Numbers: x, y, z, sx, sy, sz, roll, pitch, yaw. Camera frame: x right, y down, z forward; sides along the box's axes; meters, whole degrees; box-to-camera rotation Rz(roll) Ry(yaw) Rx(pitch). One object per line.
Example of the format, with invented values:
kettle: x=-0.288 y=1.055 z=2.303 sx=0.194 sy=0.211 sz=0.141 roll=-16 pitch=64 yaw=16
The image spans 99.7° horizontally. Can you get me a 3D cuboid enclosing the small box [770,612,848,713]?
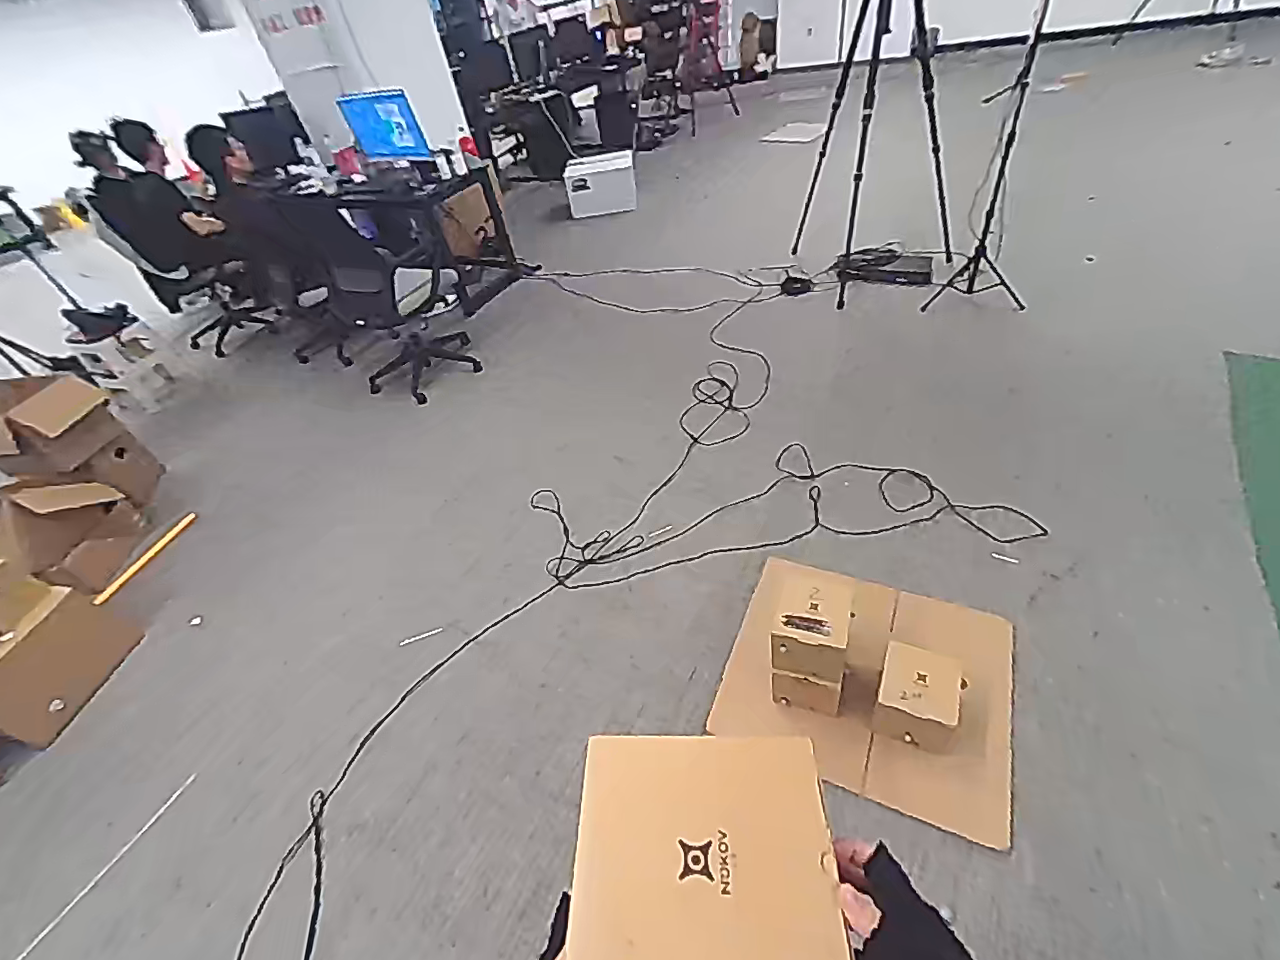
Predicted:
small box: x=0.445 y=0.482 z=1.424 sx=0.168 sy=0.176 sz=0.179 roll=9 pitch=47 yaw=22

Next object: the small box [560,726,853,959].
small box: x=0.049 y=0.308 z=0.414 sx=0.179 sy=0.176 sz=0.168 roll=-2 pitch=42 yaw=6

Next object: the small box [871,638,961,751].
small box: x=0.672 y=0.526 z=1.326 sx=0.168 sy=0.176 sz=0.179 roll=11 pitch=48 yaw=26
